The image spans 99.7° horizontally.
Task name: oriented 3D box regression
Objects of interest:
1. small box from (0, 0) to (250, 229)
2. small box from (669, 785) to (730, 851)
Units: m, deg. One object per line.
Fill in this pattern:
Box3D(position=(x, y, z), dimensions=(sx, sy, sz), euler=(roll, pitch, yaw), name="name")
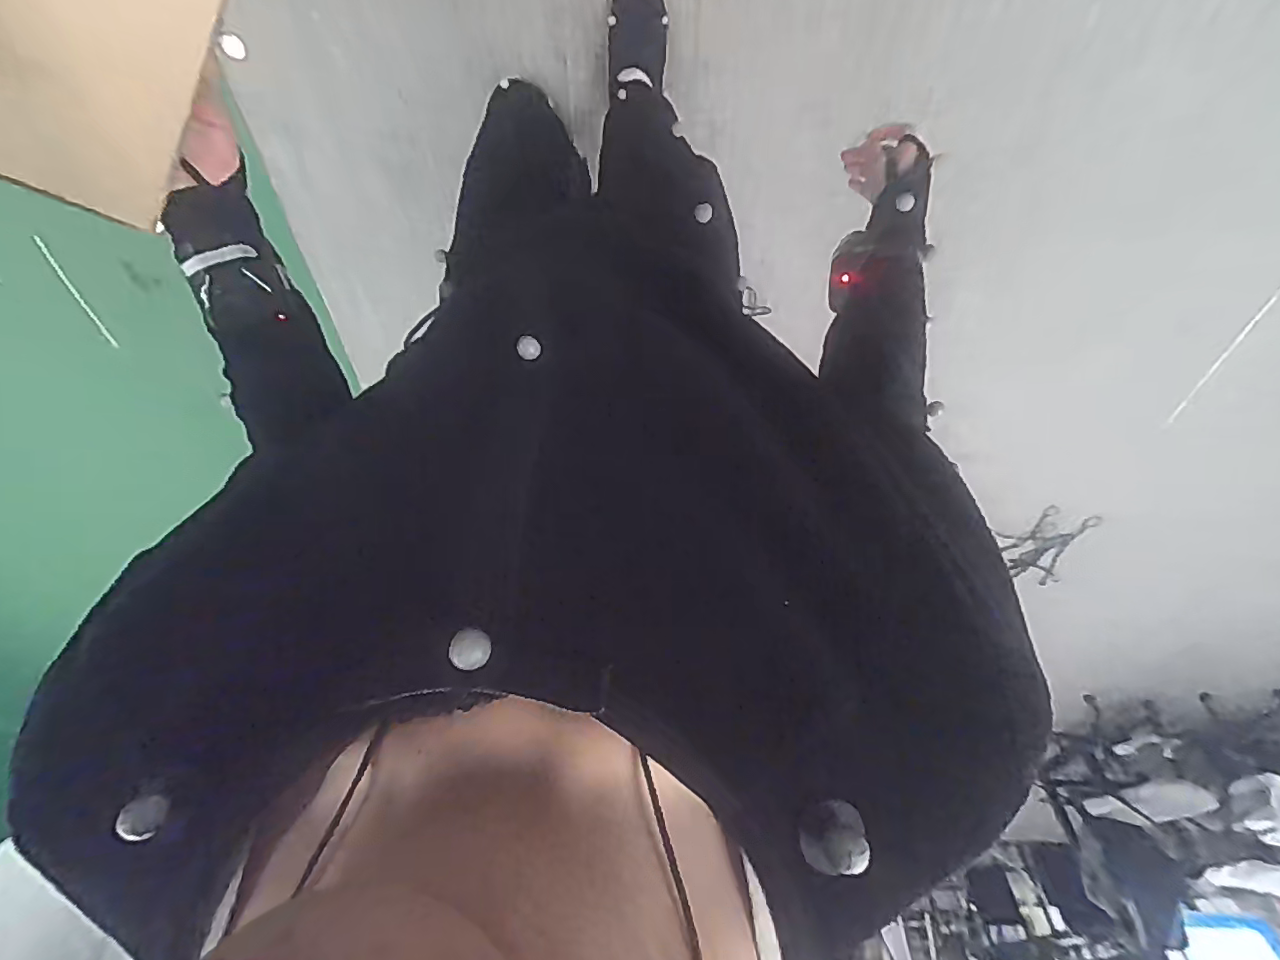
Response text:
Box3D(position=(-0.288, -0.261, 0.239), dimensions=(0.179, 0.168, 0.176), euler=(16, 126, -46), name="small box")
Box3D(position=(0.213, 1.241, 1.984), dimensions=(0.179, 0.176, 0.168), euler=(11, 132, -9), name="small box")
